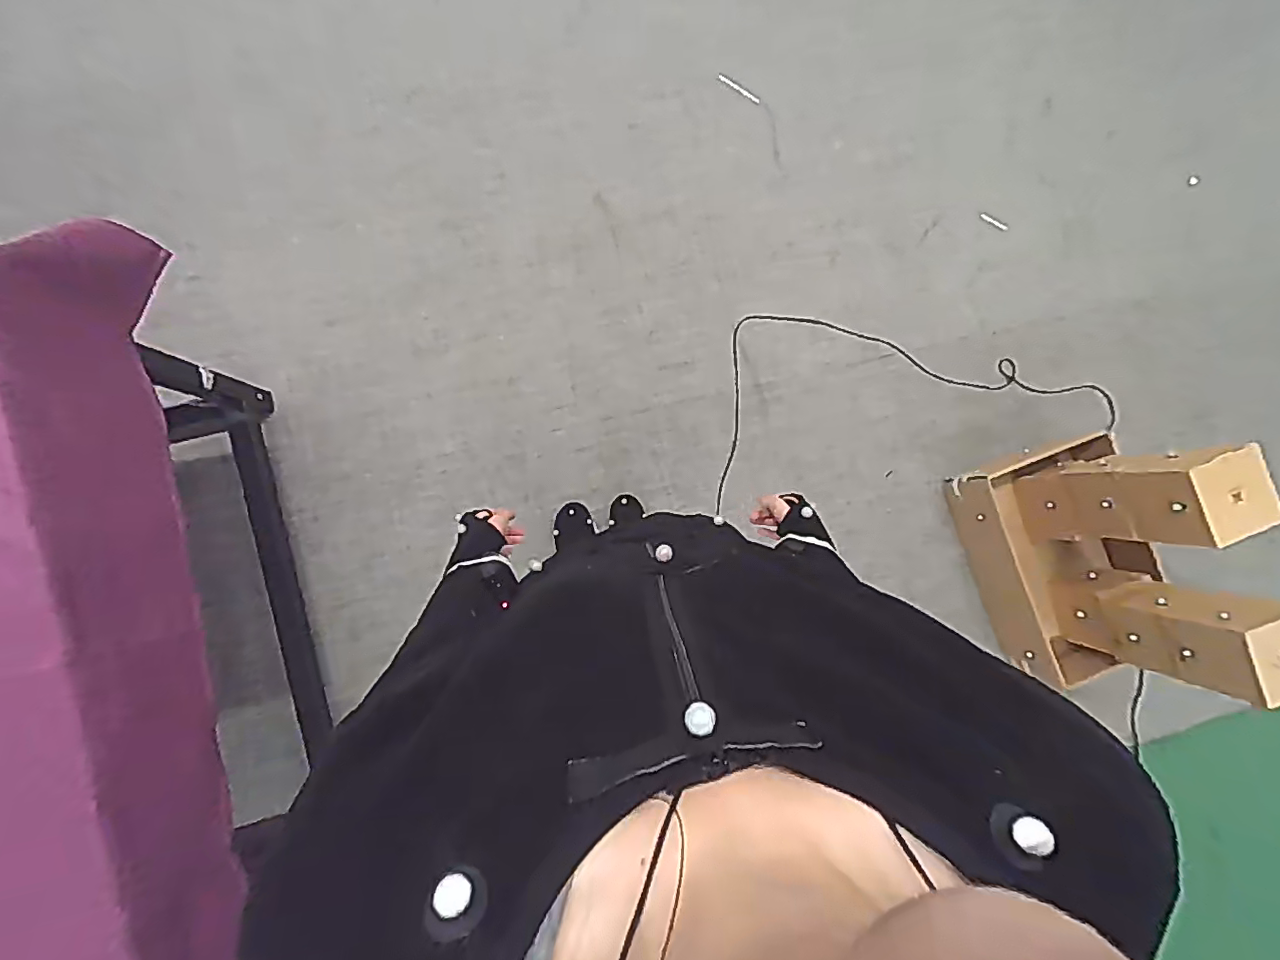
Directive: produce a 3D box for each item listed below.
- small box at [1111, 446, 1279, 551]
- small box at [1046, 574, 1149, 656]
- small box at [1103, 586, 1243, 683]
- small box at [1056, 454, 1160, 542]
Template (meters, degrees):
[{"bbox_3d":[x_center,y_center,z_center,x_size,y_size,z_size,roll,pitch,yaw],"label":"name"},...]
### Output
[{"bbox_3d":[1.205,0.039,1.186,0.168,0.176,0.179,-21,89,-4],"label":"small box"},{"bbox_3d":[1.286,0.368,1.506,0.168,0.176,0.179,-17,88,-6],"label":"small box"},{"bbox_3d":[1.304,0.375,1.342,0.179,0.176,0.168,-17,90,-6],"label":"small box"},{"bbox_3d":[1.192,0.045,1.348,0.168,0.176,0.179,-16,90,-4],"label":"small box"}]
